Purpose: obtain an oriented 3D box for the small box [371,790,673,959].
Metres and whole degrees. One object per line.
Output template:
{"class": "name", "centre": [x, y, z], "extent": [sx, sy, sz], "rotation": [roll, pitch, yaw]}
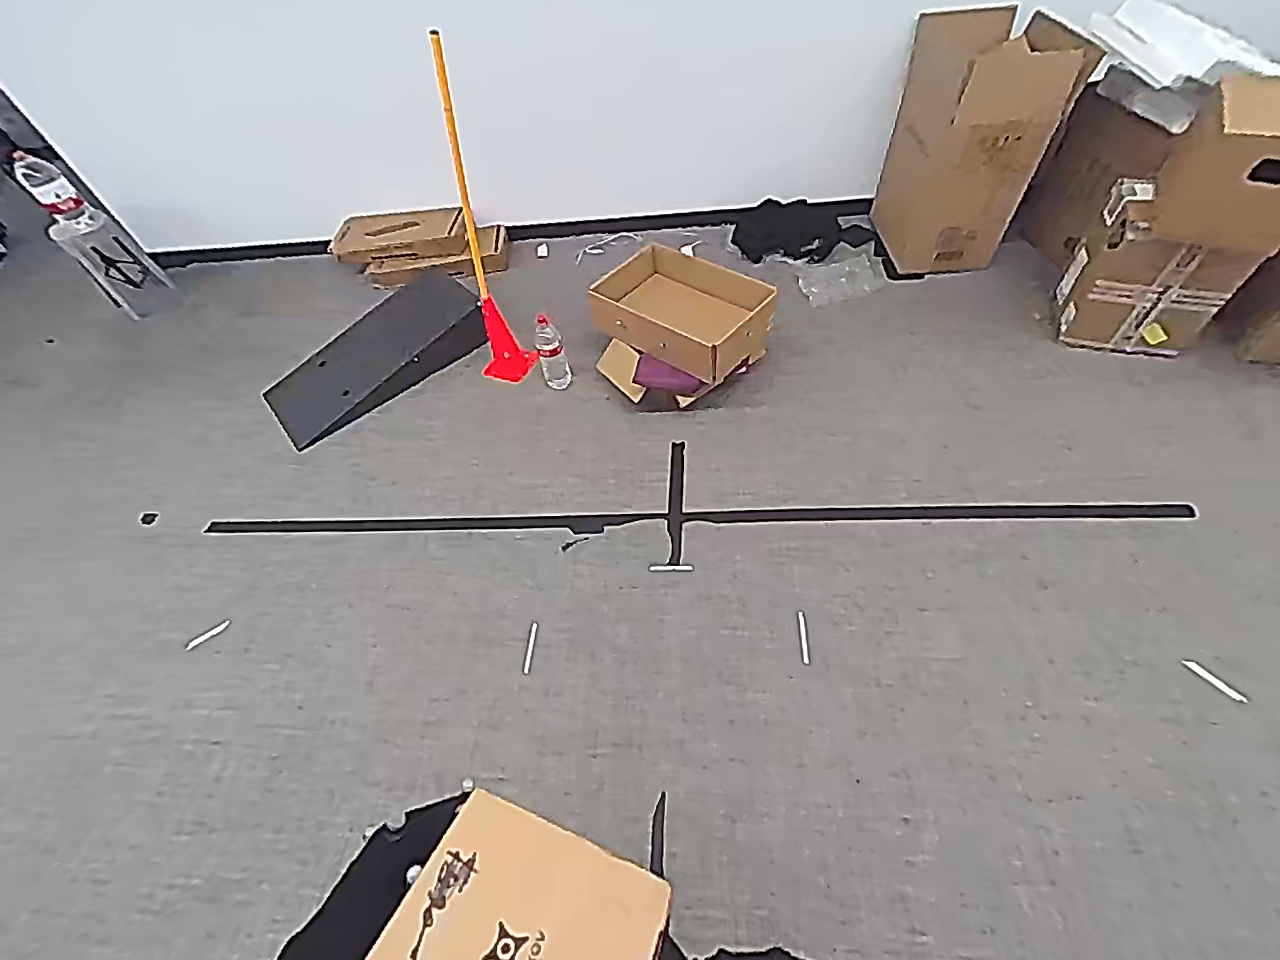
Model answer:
{"class": "small box", "centre": [-0.096, 0.386, 0.406], "extent": [0.179, 0.176, 0.168], "rotation": [20, 32, 11]}
